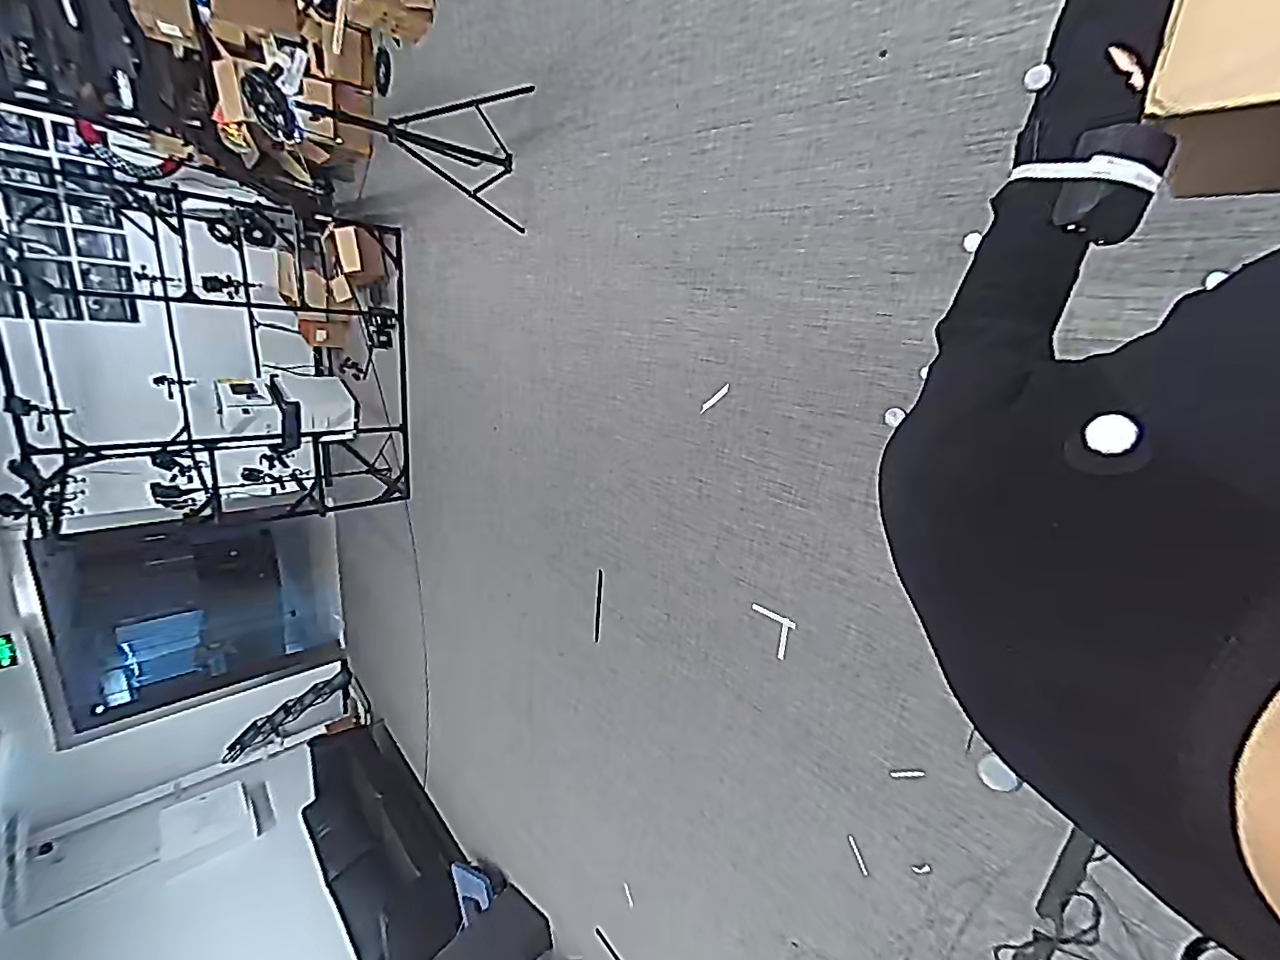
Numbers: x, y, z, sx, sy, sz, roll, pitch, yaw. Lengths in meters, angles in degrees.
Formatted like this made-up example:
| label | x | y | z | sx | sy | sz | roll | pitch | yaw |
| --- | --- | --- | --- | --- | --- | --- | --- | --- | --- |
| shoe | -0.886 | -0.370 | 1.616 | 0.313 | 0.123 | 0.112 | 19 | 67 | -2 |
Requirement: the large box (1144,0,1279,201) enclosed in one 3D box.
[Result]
| label | x | y | z | sx | sy | sz | roll | pitch | yaw |
| --- | --- | --- | --- | --- | --- | --- | --- | --- | --- |
| large box | 0.602 | -0.370 | 0.303 | 0.408 | 0.320 | 0.320 | 21 | 115 | 42 |
